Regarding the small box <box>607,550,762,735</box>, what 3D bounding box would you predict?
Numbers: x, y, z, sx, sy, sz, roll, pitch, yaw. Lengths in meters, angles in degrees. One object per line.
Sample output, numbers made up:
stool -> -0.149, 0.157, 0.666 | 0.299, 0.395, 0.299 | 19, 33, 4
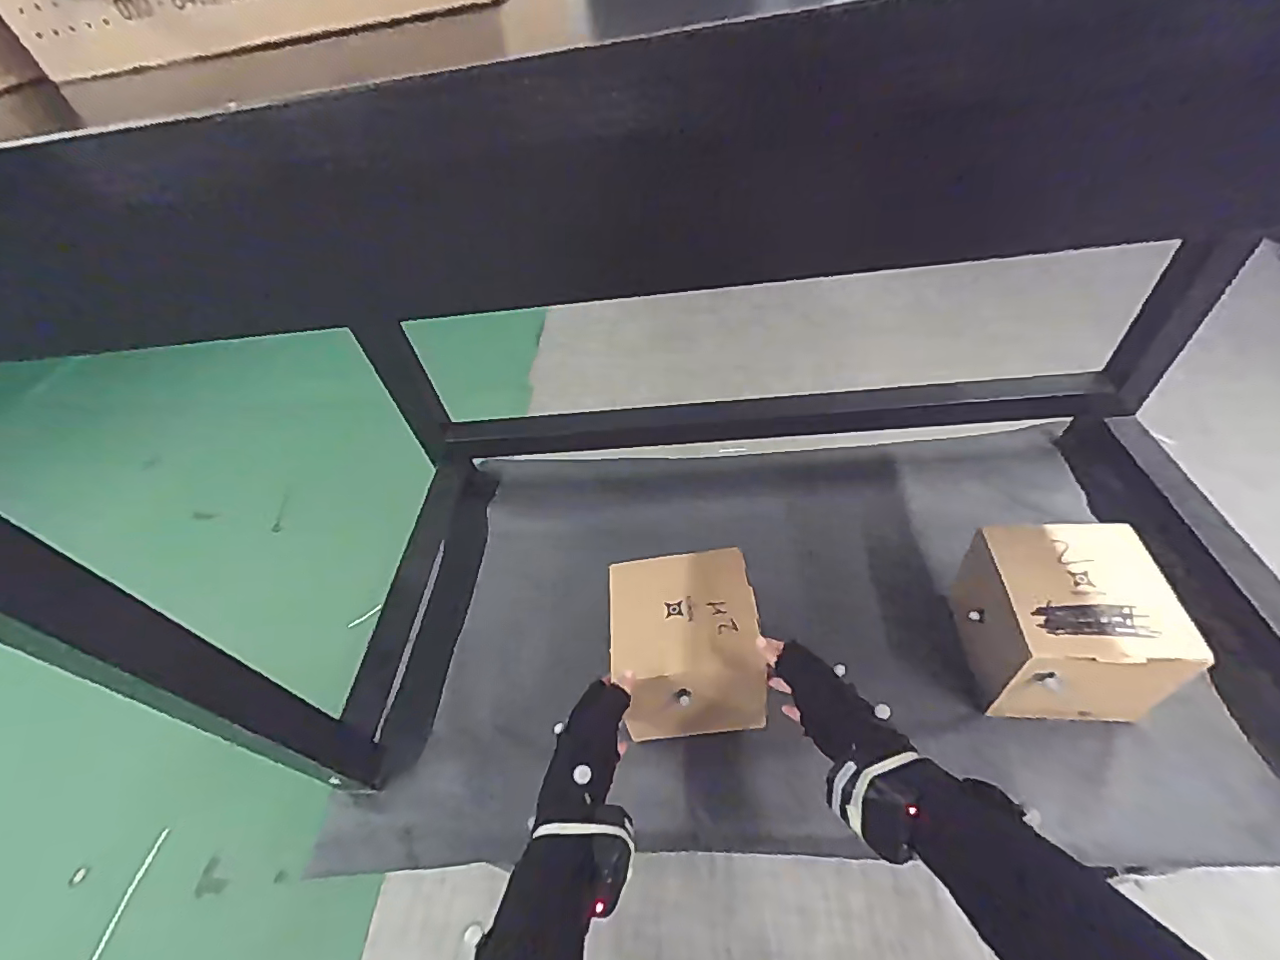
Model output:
small box -> 0.059, 0.216, 0.706 | 0.179, 0.176, 0.168 | -7, 44, 4

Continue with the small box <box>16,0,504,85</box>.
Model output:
small box -> -0.139, -0.258, 0.185 | 0.168, 0.176, 0.179 | -4, 47, 6
